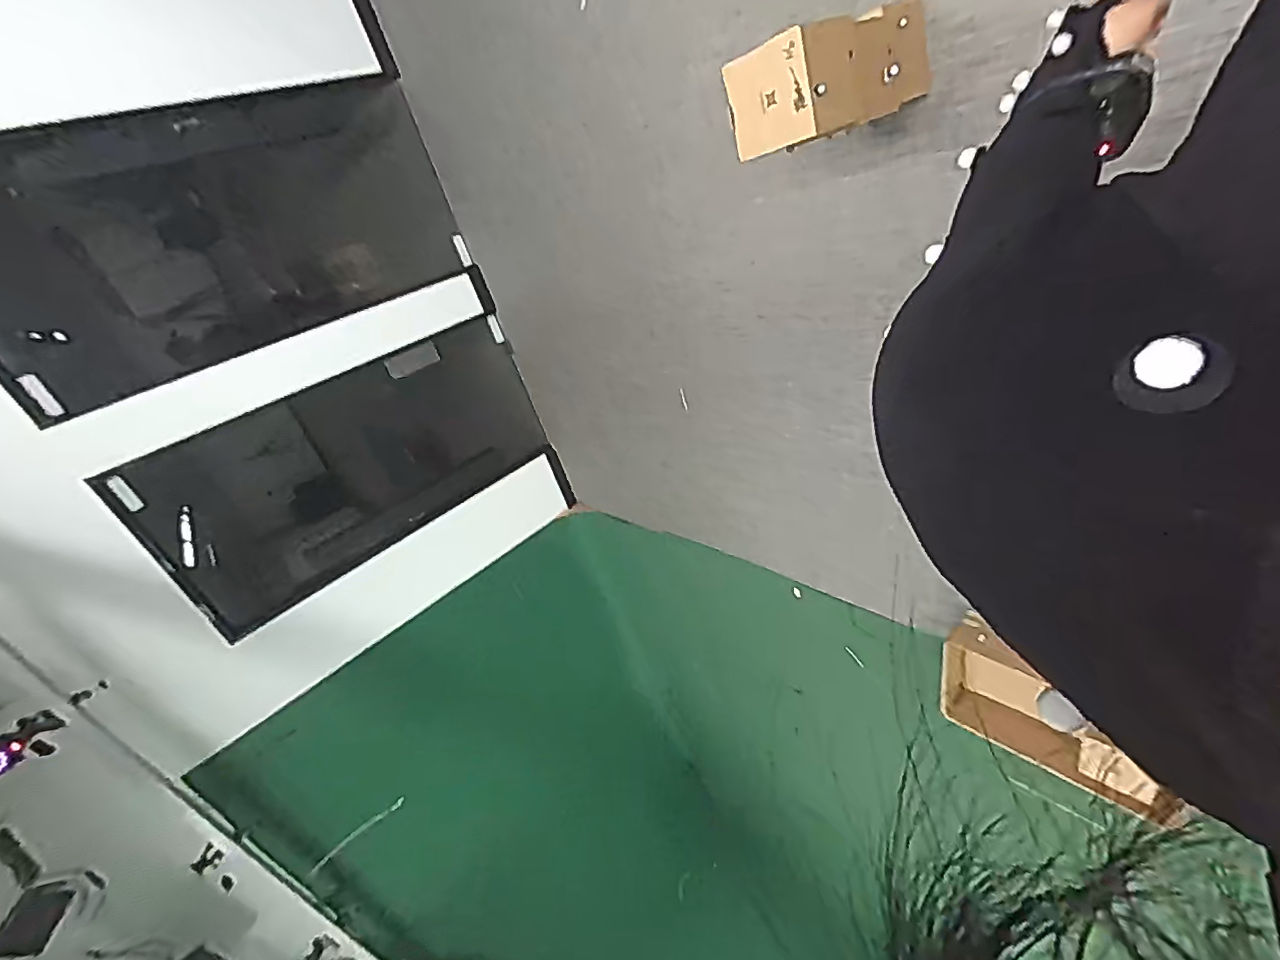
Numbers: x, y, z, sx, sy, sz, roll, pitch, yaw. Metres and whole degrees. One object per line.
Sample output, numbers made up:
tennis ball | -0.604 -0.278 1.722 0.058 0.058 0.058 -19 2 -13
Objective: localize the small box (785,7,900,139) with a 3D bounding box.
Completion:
small box | 0.403 -0.827 1.106 0.179 0.176 0.168 14 132 48

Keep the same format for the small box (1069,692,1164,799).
small box | 1.362 0.751 1.547 0.168 0.176 0.179 16 132 48

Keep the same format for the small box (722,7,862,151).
small box | 0.288 -0.749 1.019 0.179 0.176 0.168 16 133 49
